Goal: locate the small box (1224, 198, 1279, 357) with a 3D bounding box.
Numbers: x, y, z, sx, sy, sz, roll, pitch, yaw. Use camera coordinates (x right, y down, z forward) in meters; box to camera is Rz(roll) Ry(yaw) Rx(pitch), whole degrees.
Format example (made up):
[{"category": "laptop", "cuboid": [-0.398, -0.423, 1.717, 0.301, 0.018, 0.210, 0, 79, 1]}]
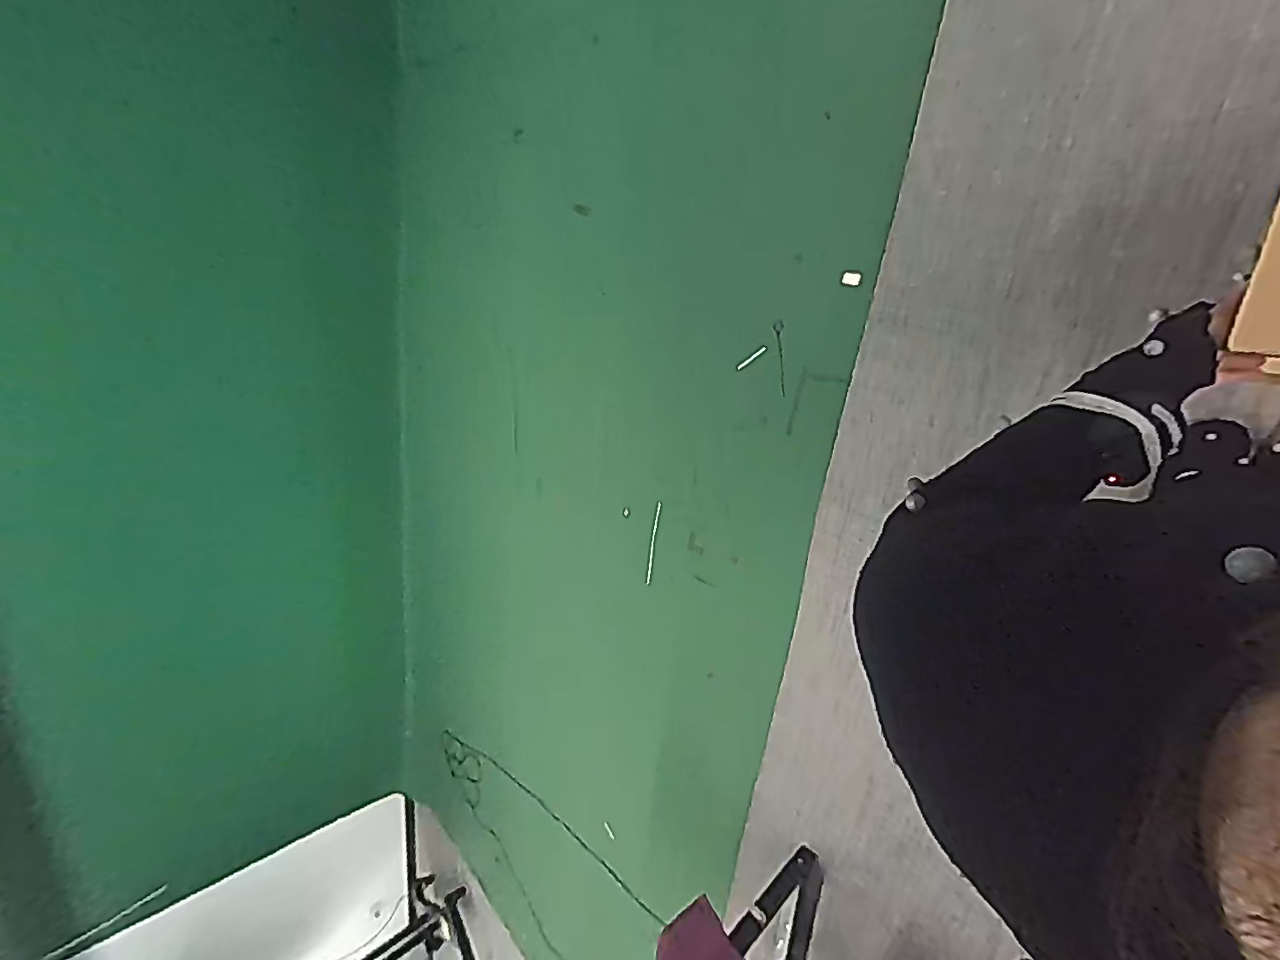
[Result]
[{"category": "small box", "cuboid": [0.577, -0.176, 0.394, 0.168, 0.176, 0.179, 20, 113, 44]}]
